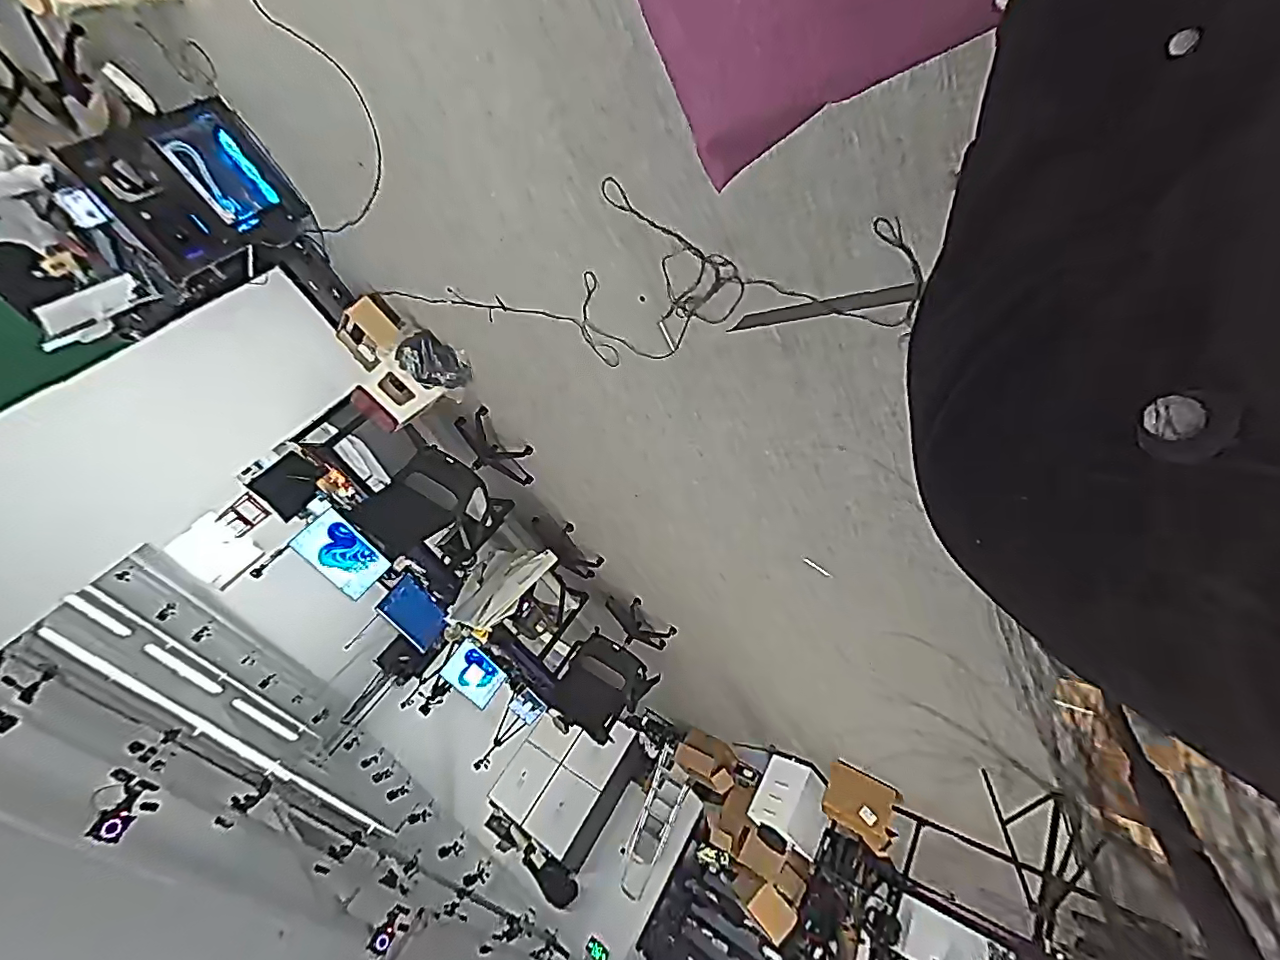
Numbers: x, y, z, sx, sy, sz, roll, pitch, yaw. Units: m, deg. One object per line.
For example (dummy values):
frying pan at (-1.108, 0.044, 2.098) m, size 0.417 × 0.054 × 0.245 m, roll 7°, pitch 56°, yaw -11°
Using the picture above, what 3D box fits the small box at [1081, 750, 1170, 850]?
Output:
small box at (1.403, 0.916, 1.565) m, size 0.179 × 0.176 × 0.168 m, roll 6°, pitch 139°, yaw 42°
